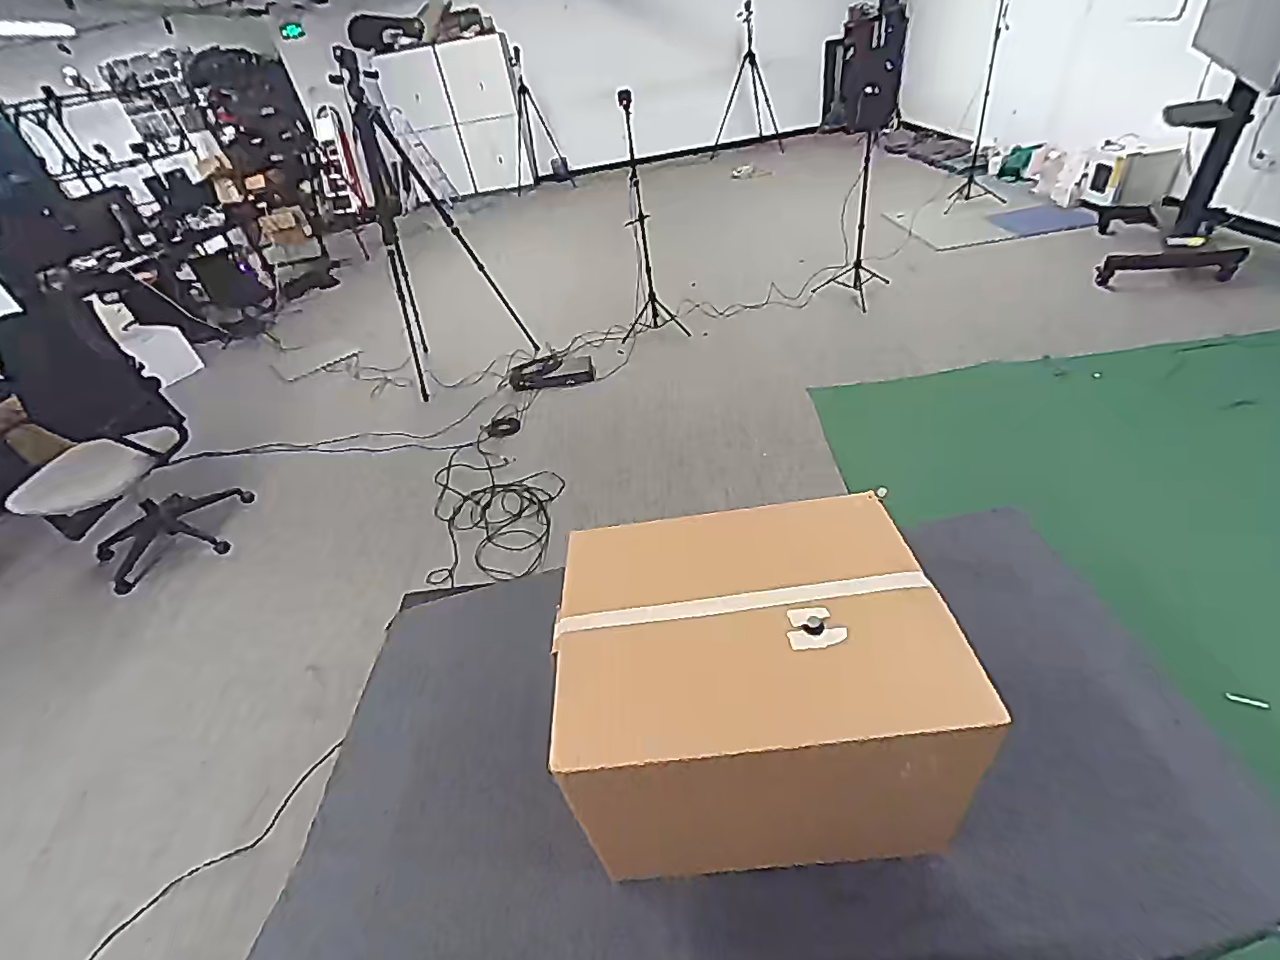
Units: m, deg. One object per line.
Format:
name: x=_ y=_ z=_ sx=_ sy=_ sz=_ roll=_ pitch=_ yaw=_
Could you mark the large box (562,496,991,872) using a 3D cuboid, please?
large box: x=0.133 y=0.258 z=0.698 sx=0.408 sy=0.320 sz=0.320 roll=-8 pitch=39 yaw=3
